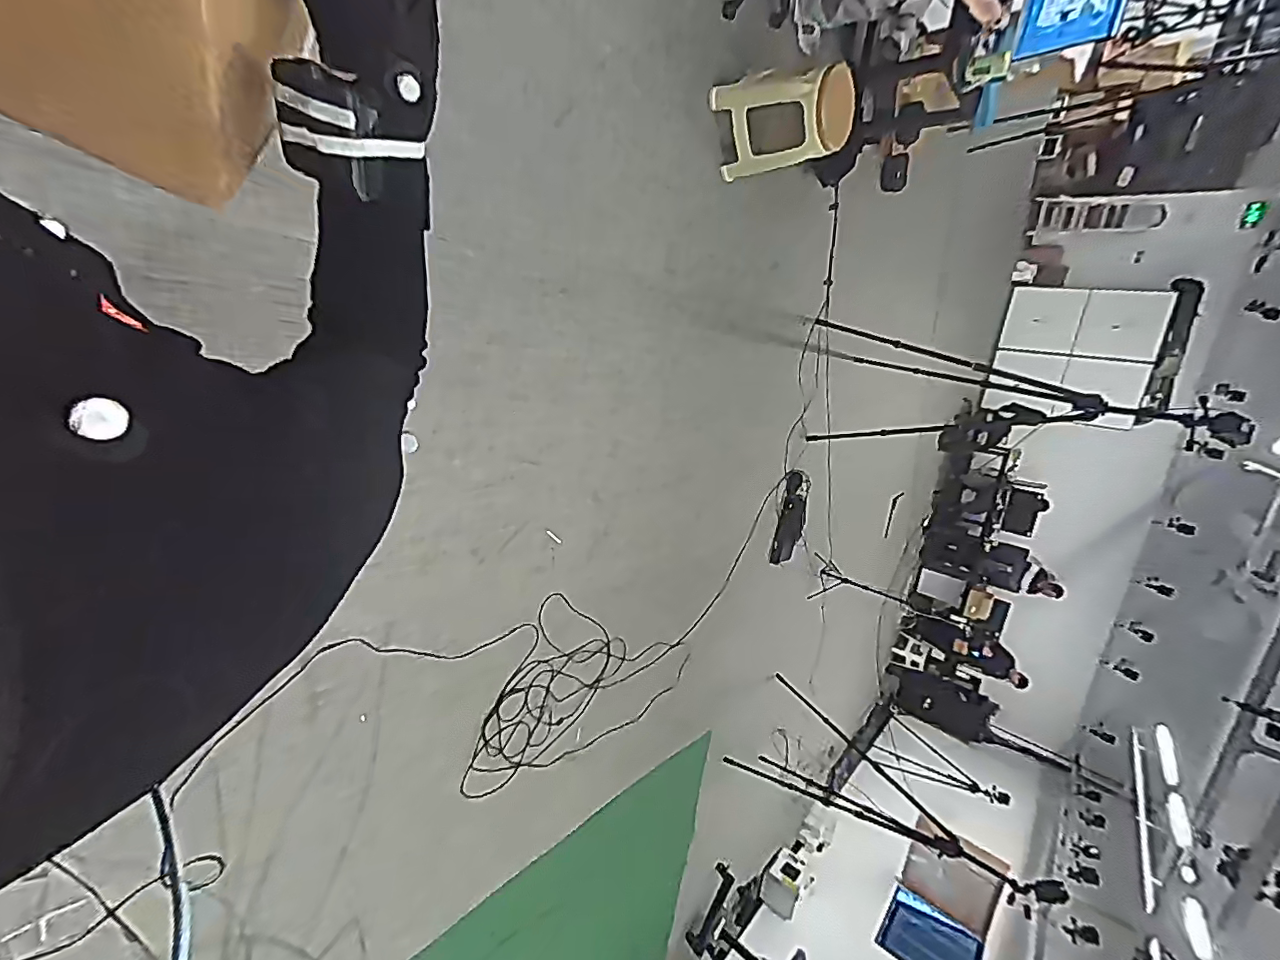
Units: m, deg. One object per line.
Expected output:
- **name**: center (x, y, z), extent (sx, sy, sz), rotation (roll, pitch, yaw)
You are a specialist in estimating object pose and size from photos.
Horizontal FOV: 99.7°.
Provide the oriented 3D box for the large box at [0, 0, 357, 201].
- **large box**: center (-0.346, -0.426, 0.227), extent (0.408, 0.320, 0.320), rotation (22, 64, -29)
